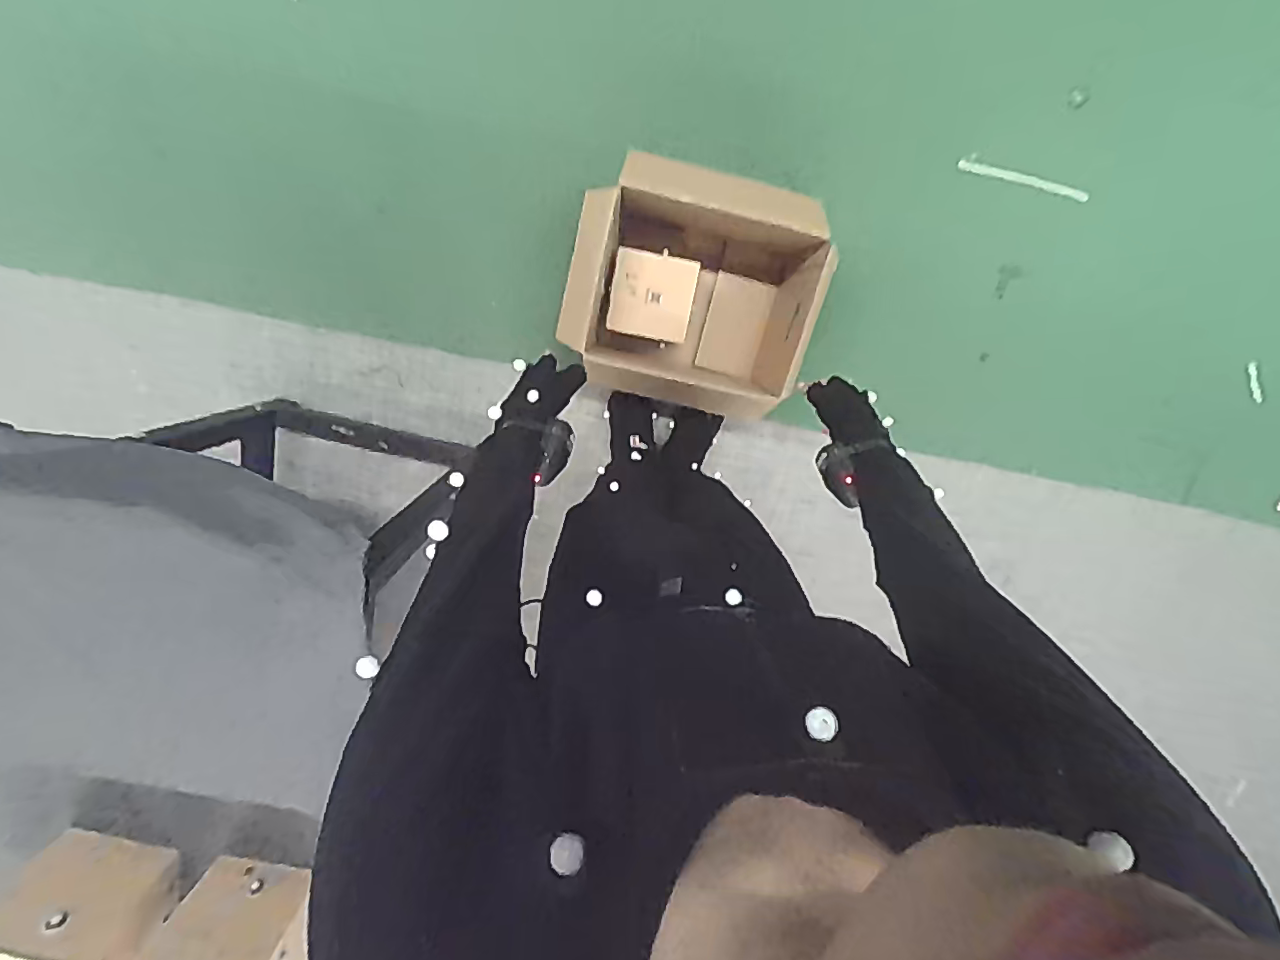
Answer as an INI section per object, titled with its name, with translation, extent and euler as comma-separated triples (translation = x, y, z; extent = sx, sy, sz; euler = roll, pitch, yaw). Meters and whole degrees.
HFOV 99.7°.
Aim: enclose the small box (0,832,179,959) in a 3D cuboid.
[small box]
translation = -0.845, 0.673, 0.813
extent = 0.179, 0.176, 0.168
euler = 17, 106, -4
